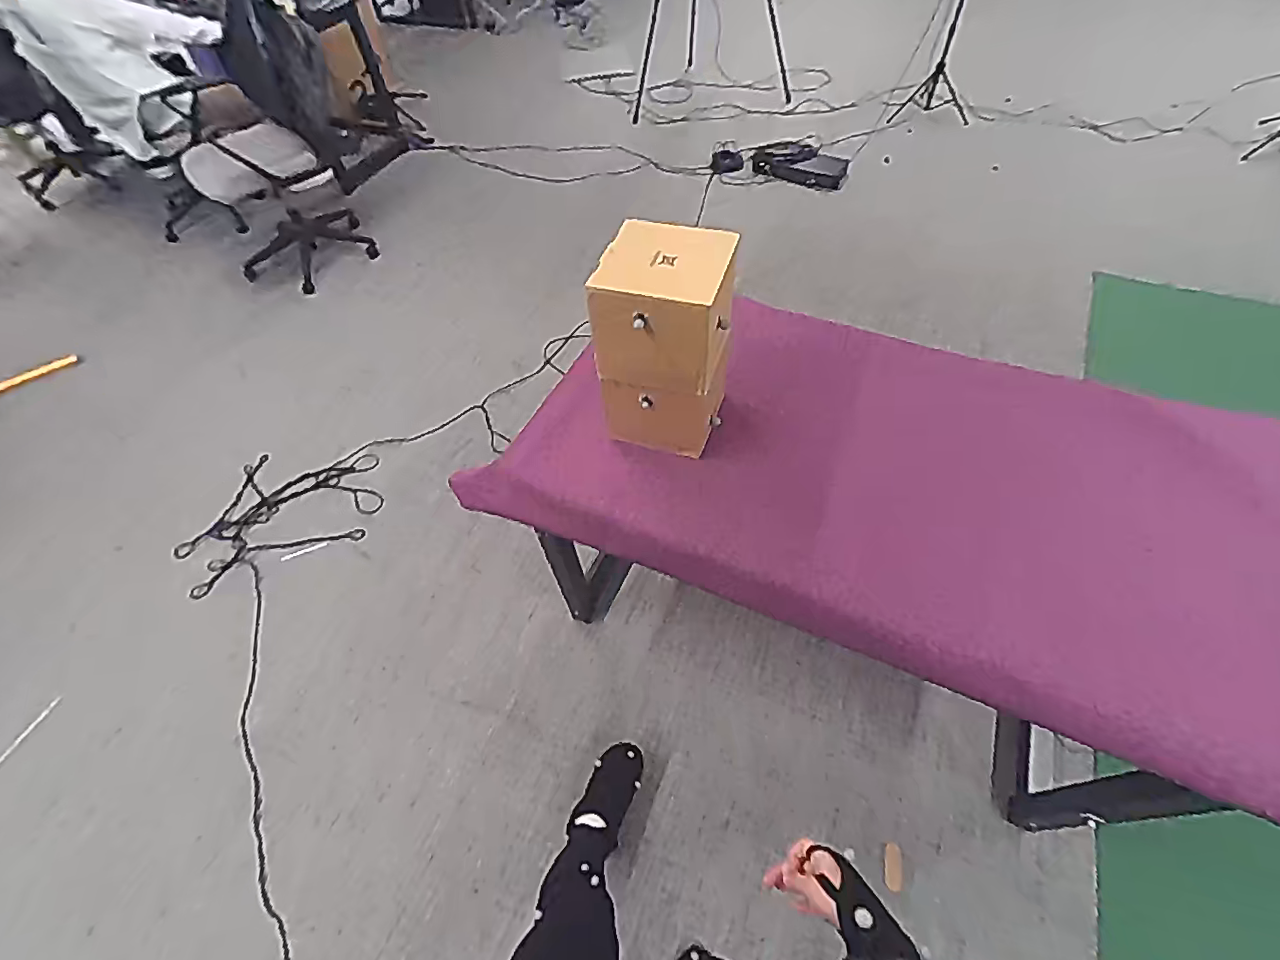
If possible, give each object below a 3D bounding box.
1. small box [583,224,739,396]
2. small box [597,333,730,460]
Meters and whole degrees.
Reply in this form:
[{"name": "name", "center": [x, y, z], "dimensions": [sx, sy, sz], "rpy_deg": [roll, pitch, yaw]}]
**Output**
[{"name": "small box", "center": [0.037, -0.246, 0.799], "dimensions": [0.179, 0.176, 0.168], "rpy_deg": [13, 57, 14]}, {"name": "small box", "center": [0.044, -0.157, 0.933], "dimensions": [0.179, 0.176, 0.168], "rpy_deg": [15, 57, 14]}]
